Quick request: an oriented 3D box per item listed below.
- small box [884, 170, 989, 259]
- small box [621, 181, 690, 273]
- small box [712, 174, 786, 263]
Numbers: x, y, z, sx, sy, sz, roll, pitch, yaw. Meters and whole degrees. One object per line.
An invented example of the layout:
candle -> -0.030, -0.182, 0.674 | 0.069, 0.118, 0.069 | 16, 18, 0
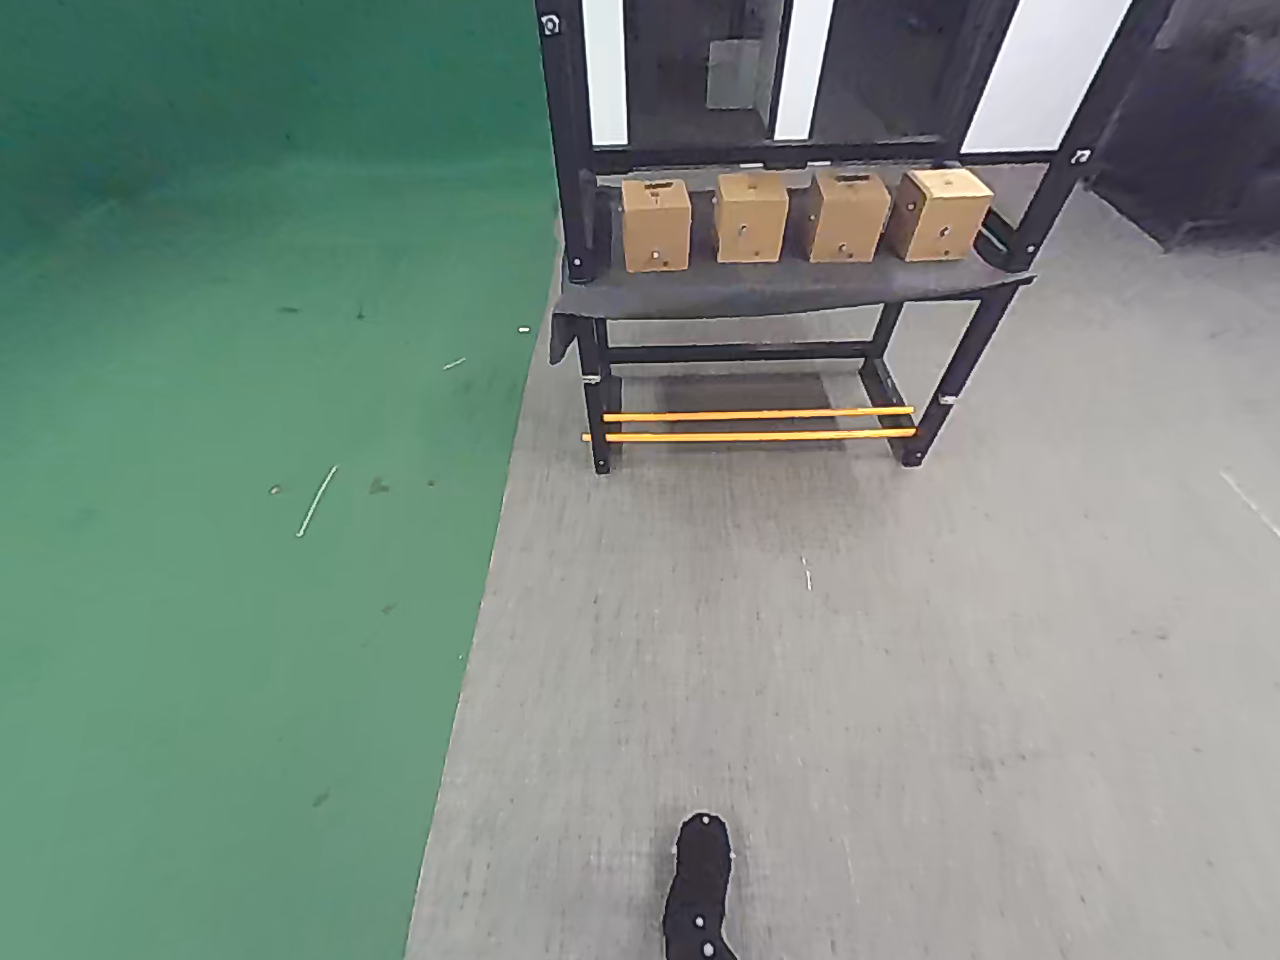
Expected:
small box -> 0.780, -0.705, 1.444 | 0.168, 0.176, 0.179 | -1, 48, 0
small box -> 0.036, -0.672, 1.439 | 0.168, 0.176, 0.179 | -4, 50, -2
small box -> 0.287, -0.704, 1.462 | 0.168, 0.176, 0.179 | -1, 49, 1
